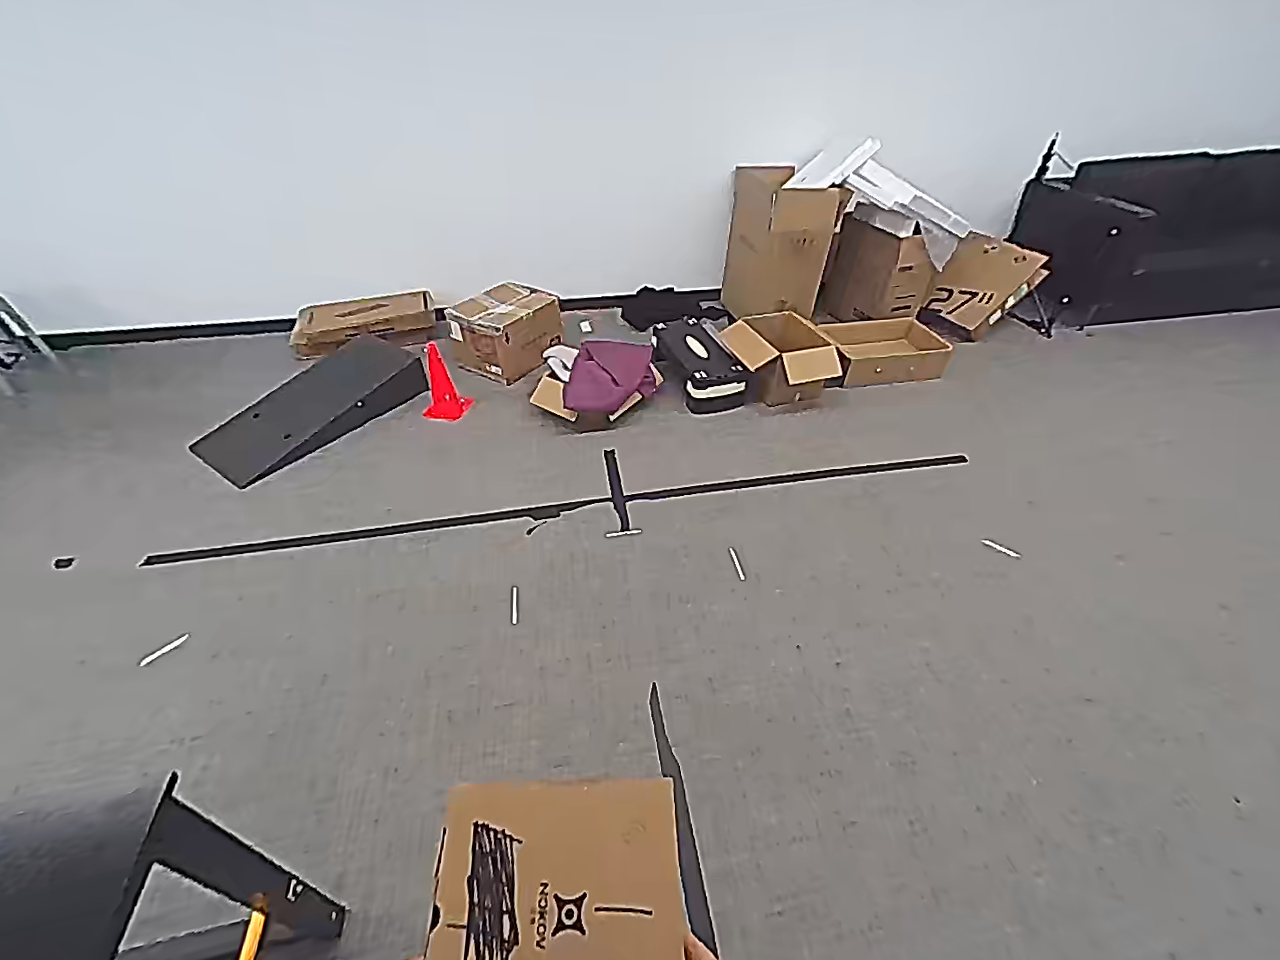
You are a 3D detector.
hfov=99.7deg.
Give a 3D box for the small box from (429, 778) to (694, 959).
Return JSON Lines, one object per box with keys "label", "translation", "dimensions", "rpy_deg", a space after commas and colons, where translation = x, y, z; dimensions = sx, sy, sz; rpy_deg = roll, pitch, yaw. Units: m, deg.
{"label": "small box", "translation": [-0.057, 0.348, 0.430], "dimensions": [0.179, 0.176, 0.168], "rpy_deg": [2, 49, -5]}
